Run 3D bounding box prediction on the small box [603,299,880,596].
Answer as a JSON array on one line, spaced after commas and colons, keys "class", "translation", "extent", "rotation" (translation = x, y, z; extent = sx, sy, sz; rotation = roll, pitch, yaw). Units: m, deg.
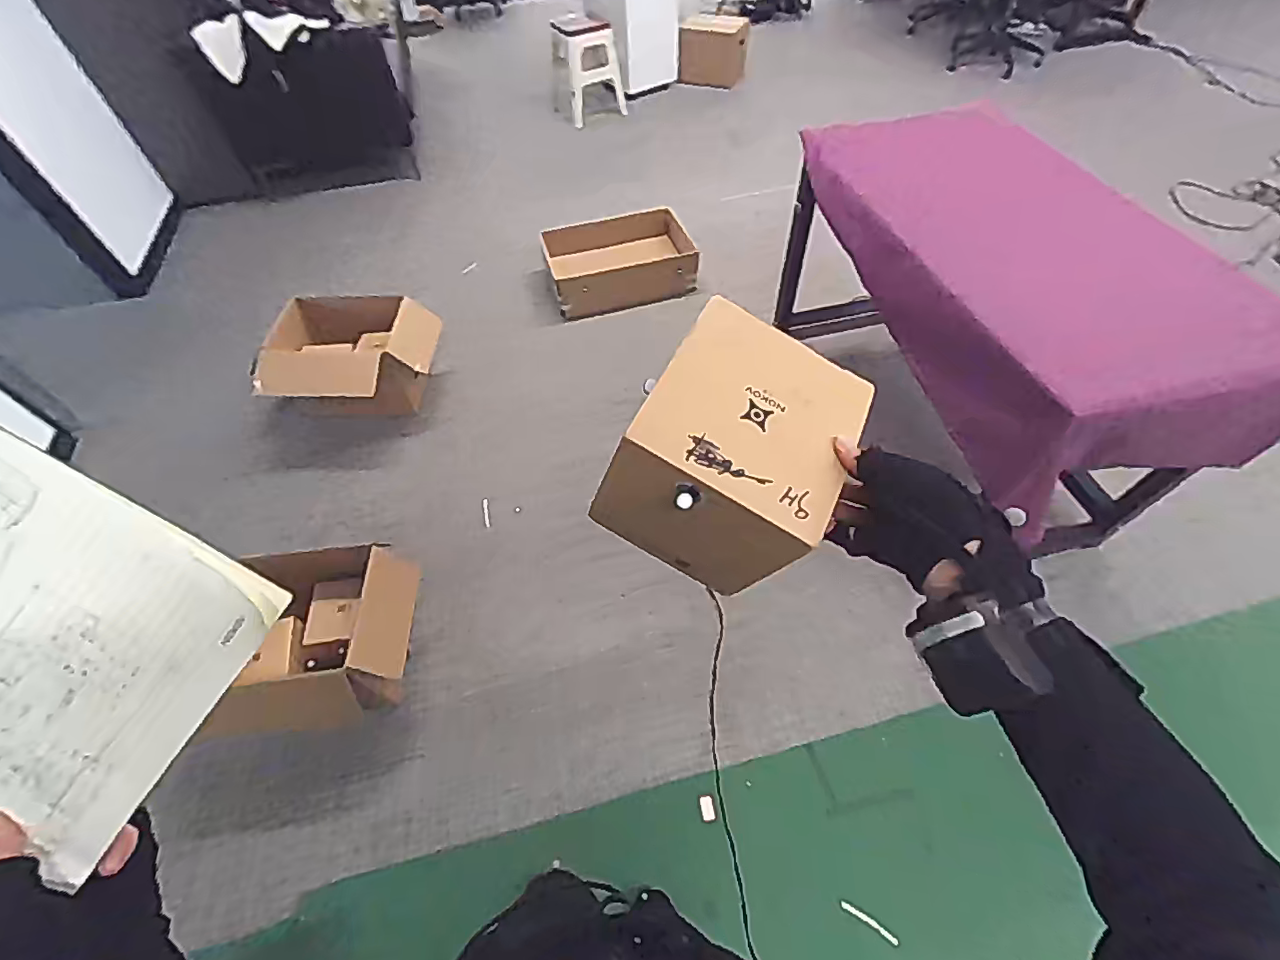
[{"class": "small box", "translation": [0.082, -0.021, 0.499], "extent": [0.168, 0.176, 0.179], "rotation": [31, 61, 0]}]
